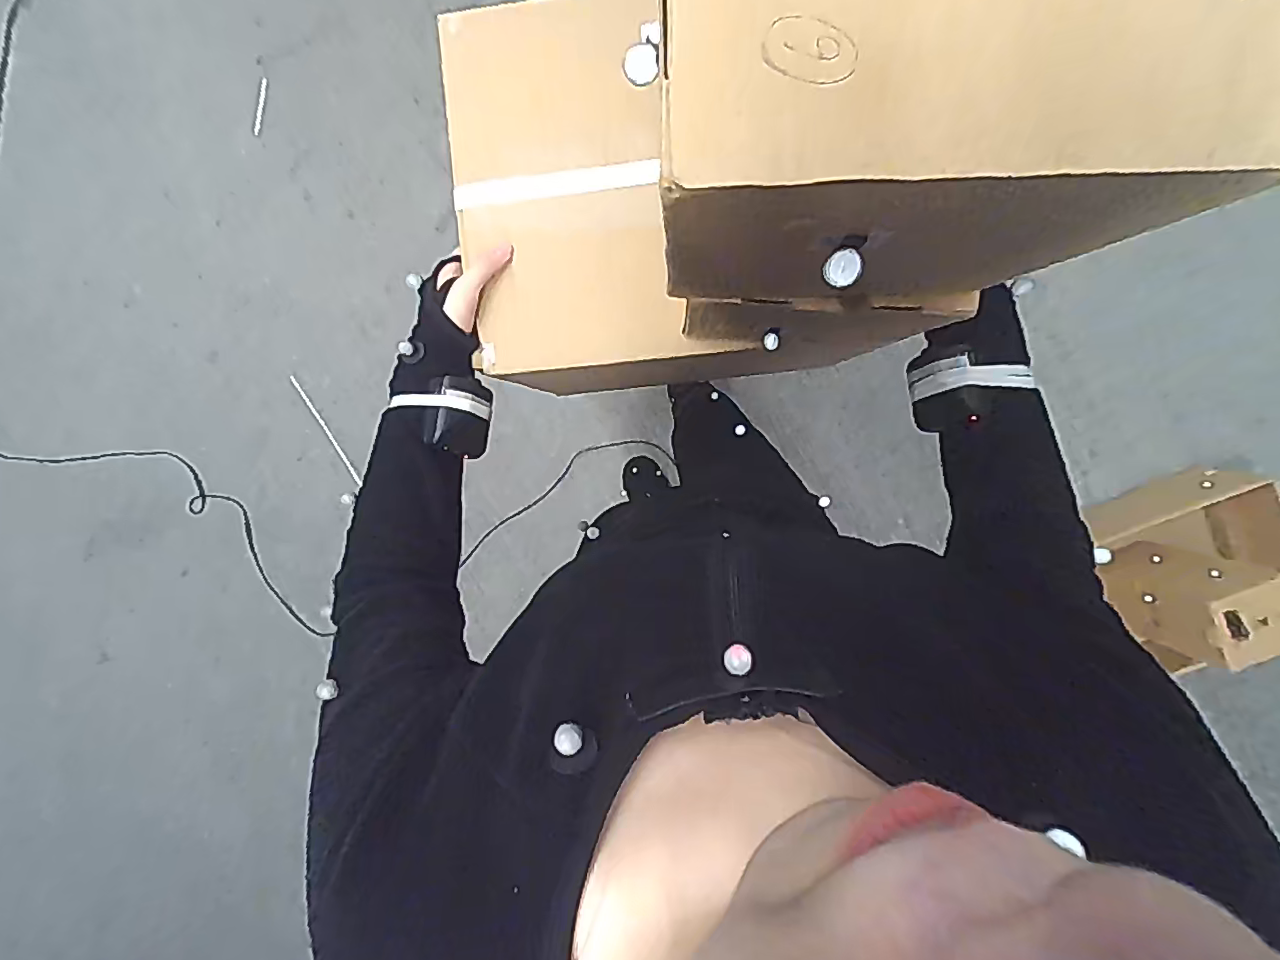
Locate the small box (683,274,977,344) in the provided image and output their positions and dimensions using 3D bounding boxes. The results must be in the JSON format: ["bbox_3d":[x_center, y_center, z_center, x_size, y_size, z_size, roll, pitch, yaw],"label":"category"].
[{"bbox_3d":[0.119,-0.198,0.380,0.168,0.176,0.179,4,99,3],"label":"small box"}]

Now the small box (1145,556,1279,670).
[{"bbox_3d":[1.288,0.290,1.206,0.179,0.176,0.168,-22,96,2],"label":"small box"}]

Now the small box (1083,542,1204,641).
[{"bbox_3d":[1.290,0.274,1.370,0.179,0.176,0.168,-23,95,3],"label":"small box"}]

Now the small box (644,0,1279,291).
[{"bbox_3d":[0.095,-0.175,0.218,0.179,0.176,0.168,1,100,4],"label":"small box"}]
